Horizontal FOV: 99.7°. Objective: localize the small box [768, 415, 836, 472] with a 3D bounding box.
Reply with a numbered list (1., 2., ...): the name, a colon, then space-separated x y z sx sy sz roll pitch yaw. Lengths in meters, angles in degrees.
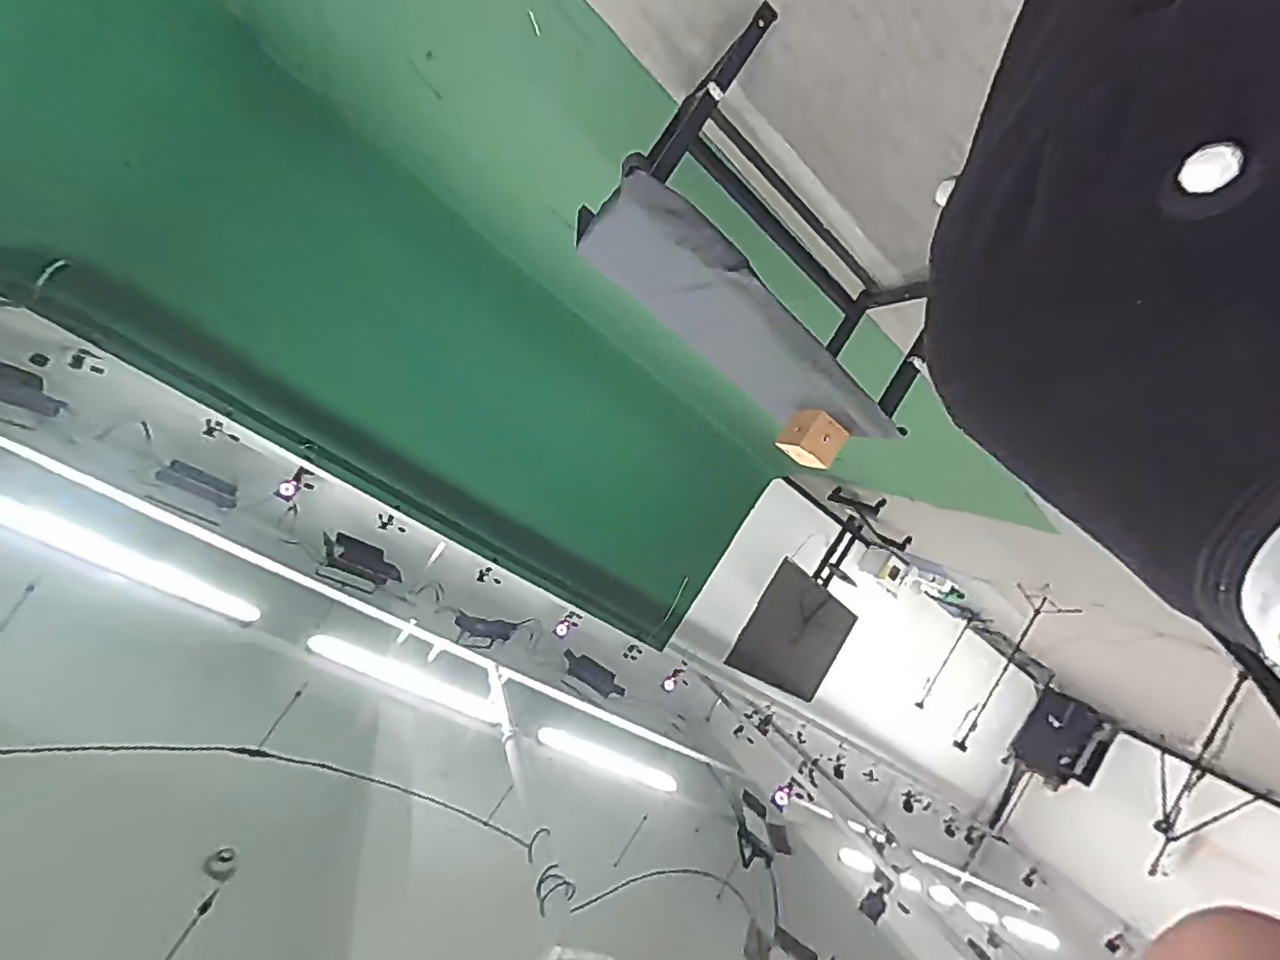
1. small box: 0.653 -0.149 2.160 0.168 0.176 0.179 36 174 -20
